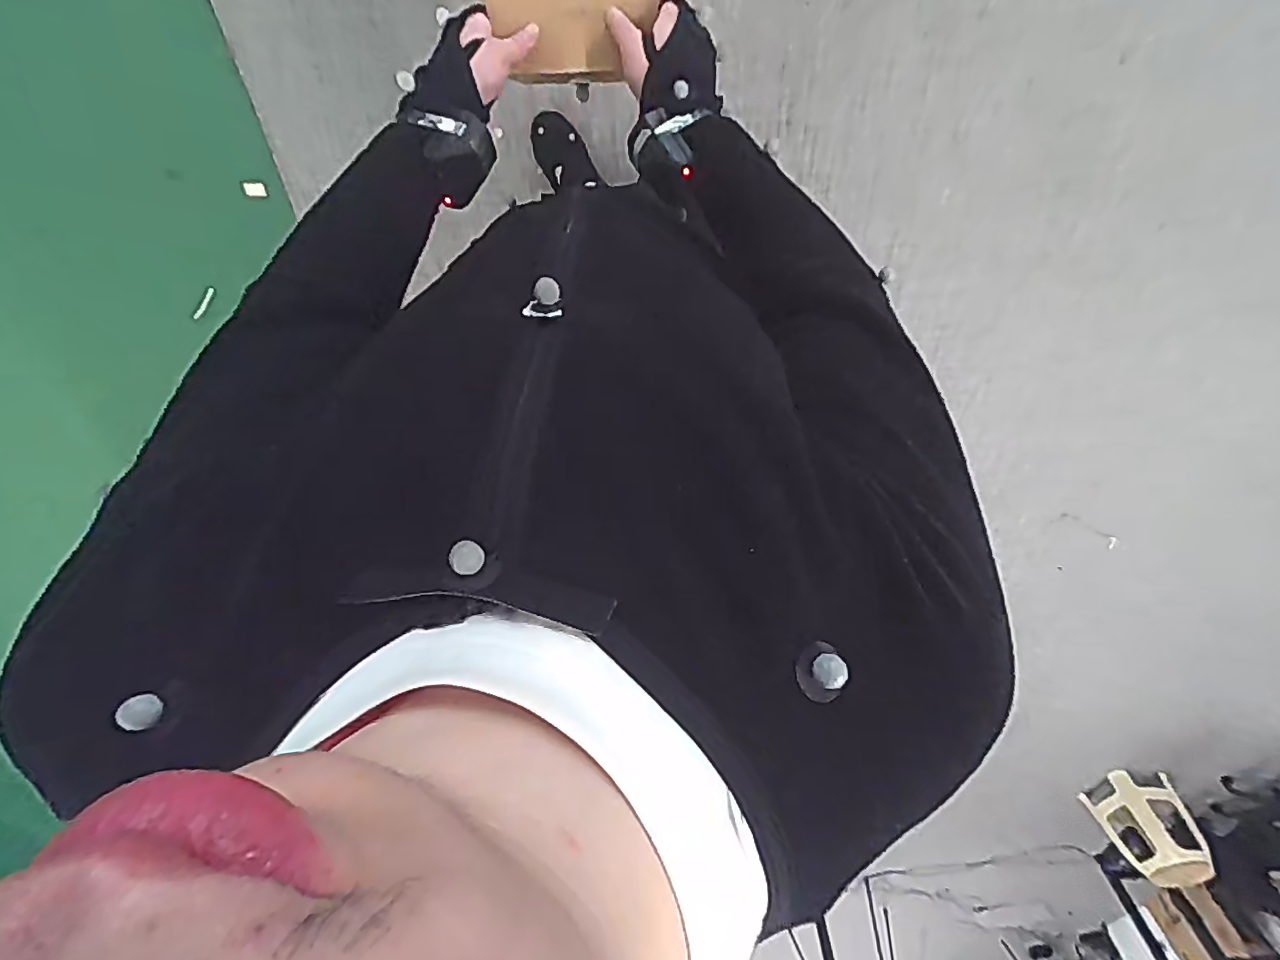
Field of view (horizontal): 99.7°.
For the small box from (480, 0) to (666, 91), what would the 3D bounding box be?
[{"bbox_3d":[-0.056,-0.491,0.522,0.168,0.176,0.179,2,124,1],"label":"small box"}]
